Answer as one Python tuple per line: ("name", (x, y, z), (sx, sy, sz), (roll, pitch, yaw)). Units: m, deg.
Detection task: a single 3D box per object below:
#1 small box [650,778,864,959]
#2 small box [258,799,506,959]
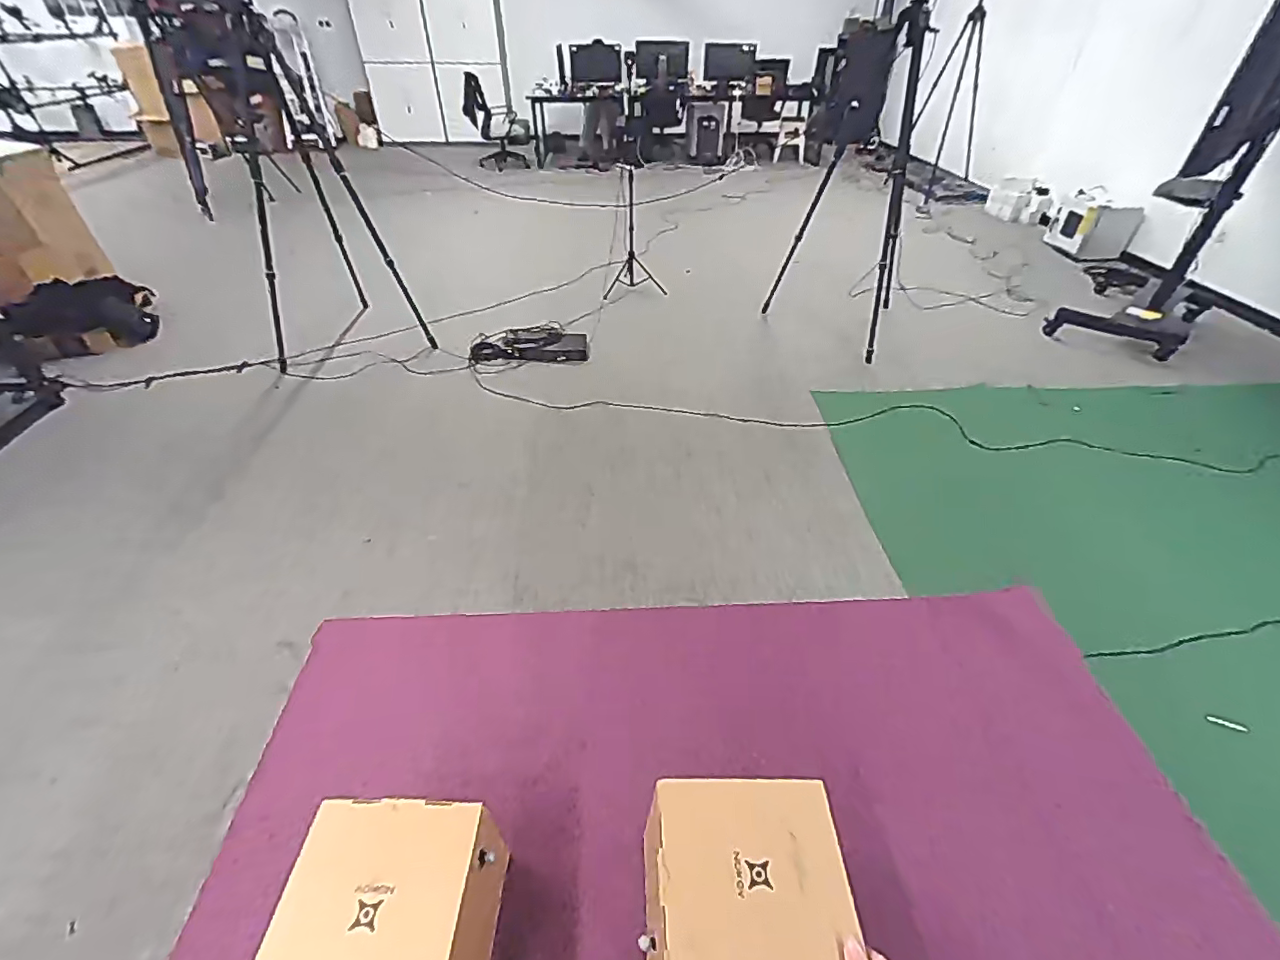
("small box", (0.099, 0.423, 0.548), (0.179, 0.176, 0.168), (2, 41, -2))
("small box", (-0.240, 0.444, 0.537), (0.168, 0.176, 0.179), (0, 40, 1))
